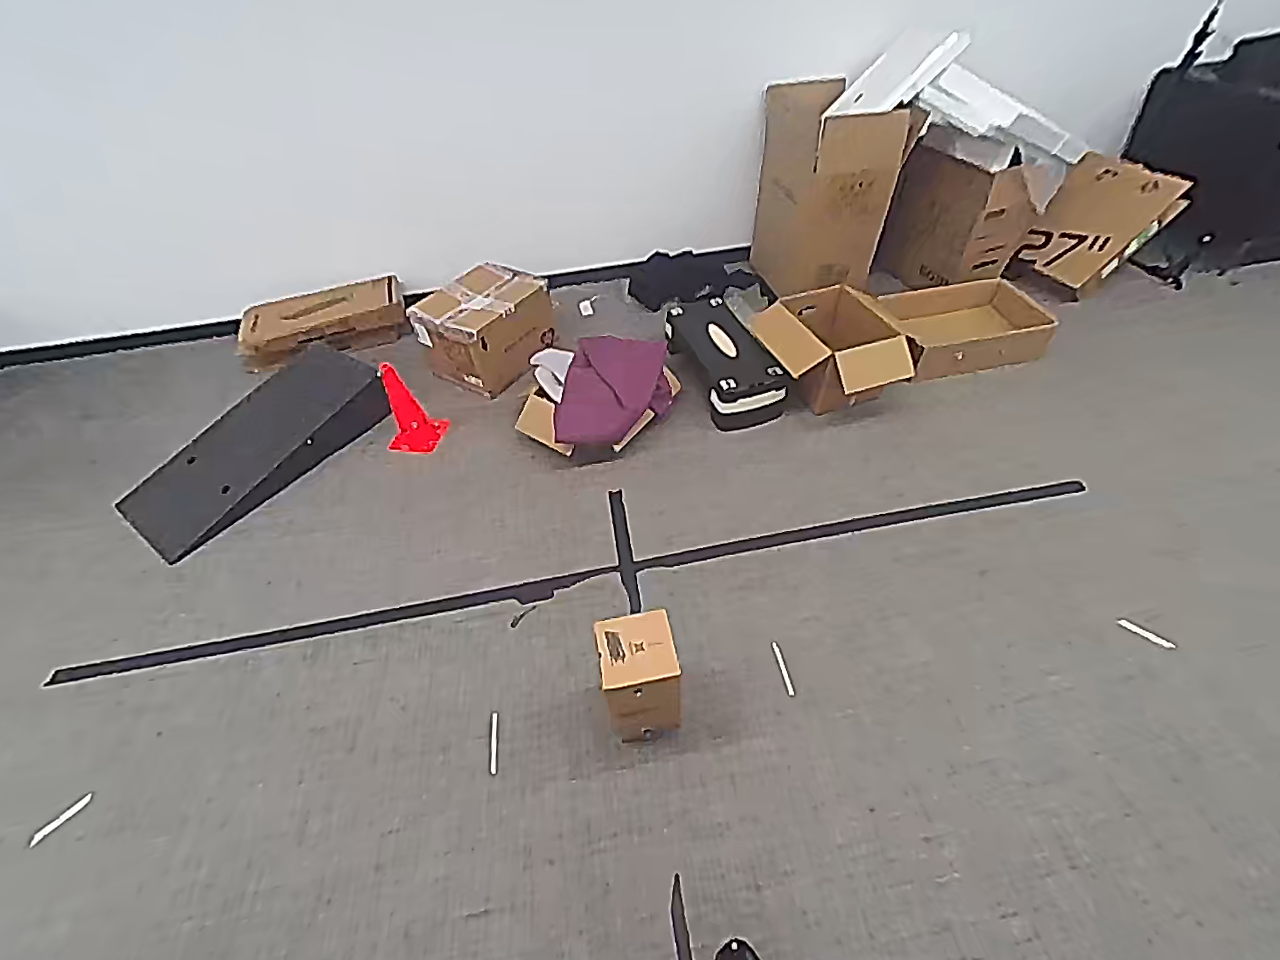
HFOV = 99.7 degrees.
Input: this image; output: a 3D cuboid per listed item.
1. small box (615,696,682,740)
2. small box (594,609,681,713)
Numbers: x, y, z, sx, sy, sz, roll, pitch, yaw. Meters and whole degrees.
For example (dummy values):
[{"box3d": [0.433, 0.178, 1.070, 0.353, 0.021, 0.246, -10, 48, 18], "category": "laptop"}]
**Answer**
[{"box3d": [0.007, 0.542, 1.401, 0.168, 0.176, 0.179, -14, 50, -7], "category": "small box"}, {"box3d": [-0.004, 0.432, 1.279, 0.179, 0.176, 0.168, -10, 48, -4], "category": "small box"}]
